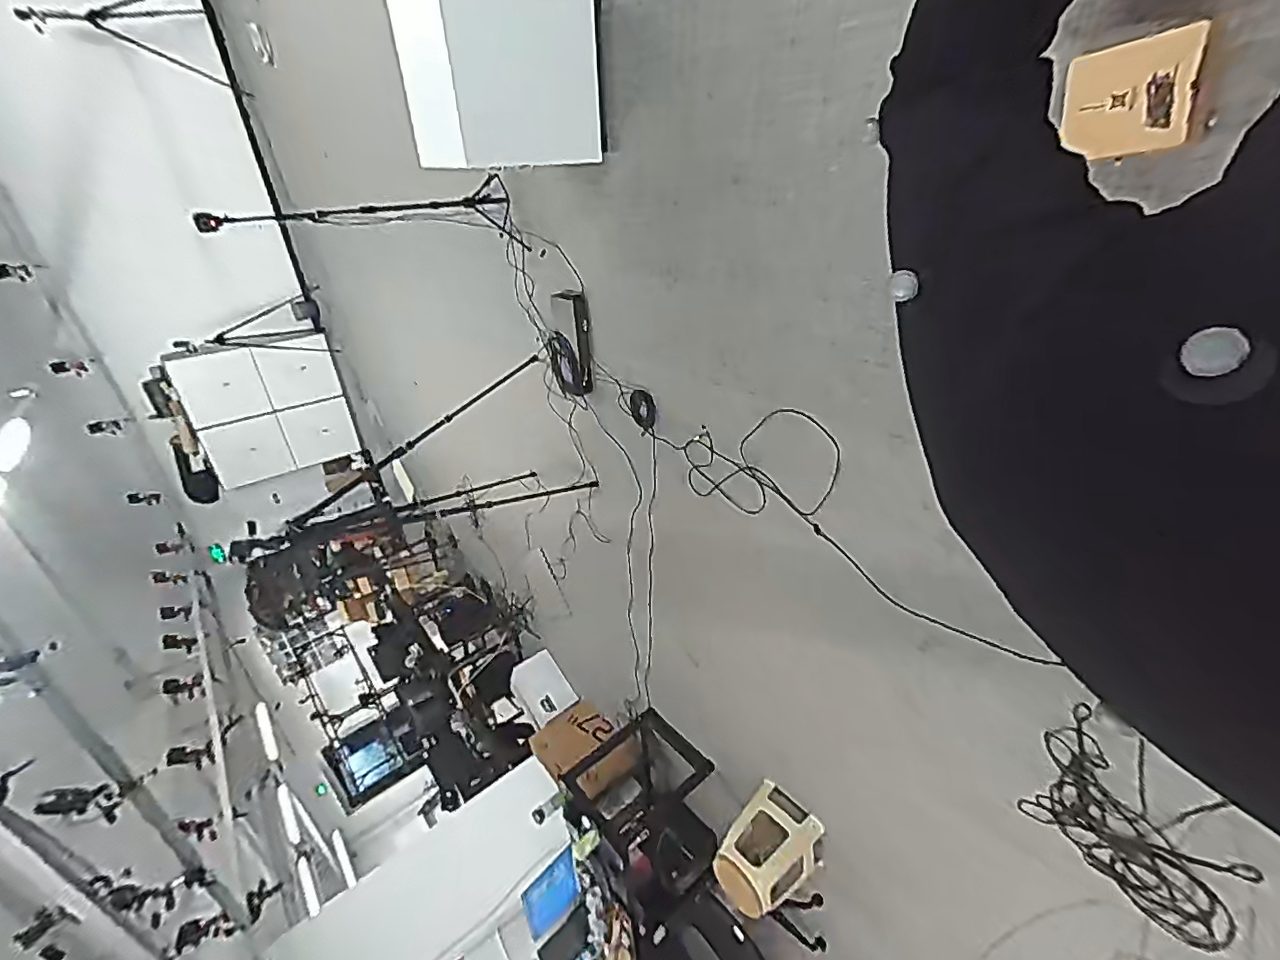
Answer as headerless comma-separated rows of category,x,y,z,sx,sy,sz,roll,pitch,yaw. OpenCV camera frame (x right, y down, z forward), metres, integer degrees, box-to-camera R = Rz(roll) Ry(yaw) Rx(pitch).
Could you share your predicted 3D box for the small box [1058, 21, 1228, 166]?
small box,0.873,-0.660,0.942,0.179,0.176,0.168,20,125,48
